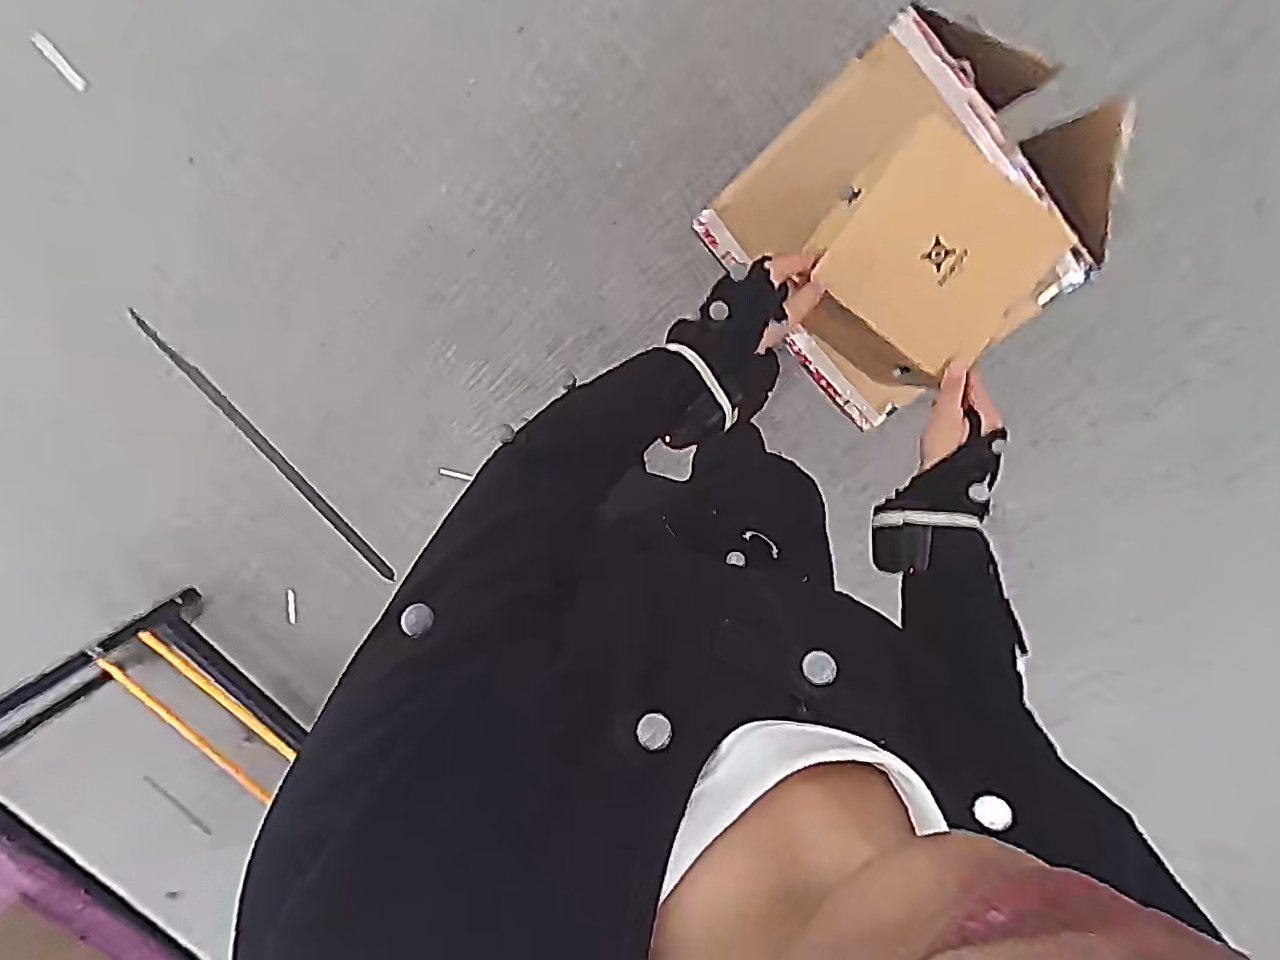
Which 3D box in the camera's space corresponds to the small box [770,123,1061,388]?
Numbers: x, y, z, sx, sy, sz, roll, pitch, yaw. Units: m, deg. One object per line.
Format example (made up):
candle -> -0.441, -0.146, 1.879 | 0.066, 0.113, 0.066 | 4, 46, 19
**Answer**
small box -> 0.261, -0.211, 0.564 | 0.179, 0.176, 0.168 | 34, 101, -7
